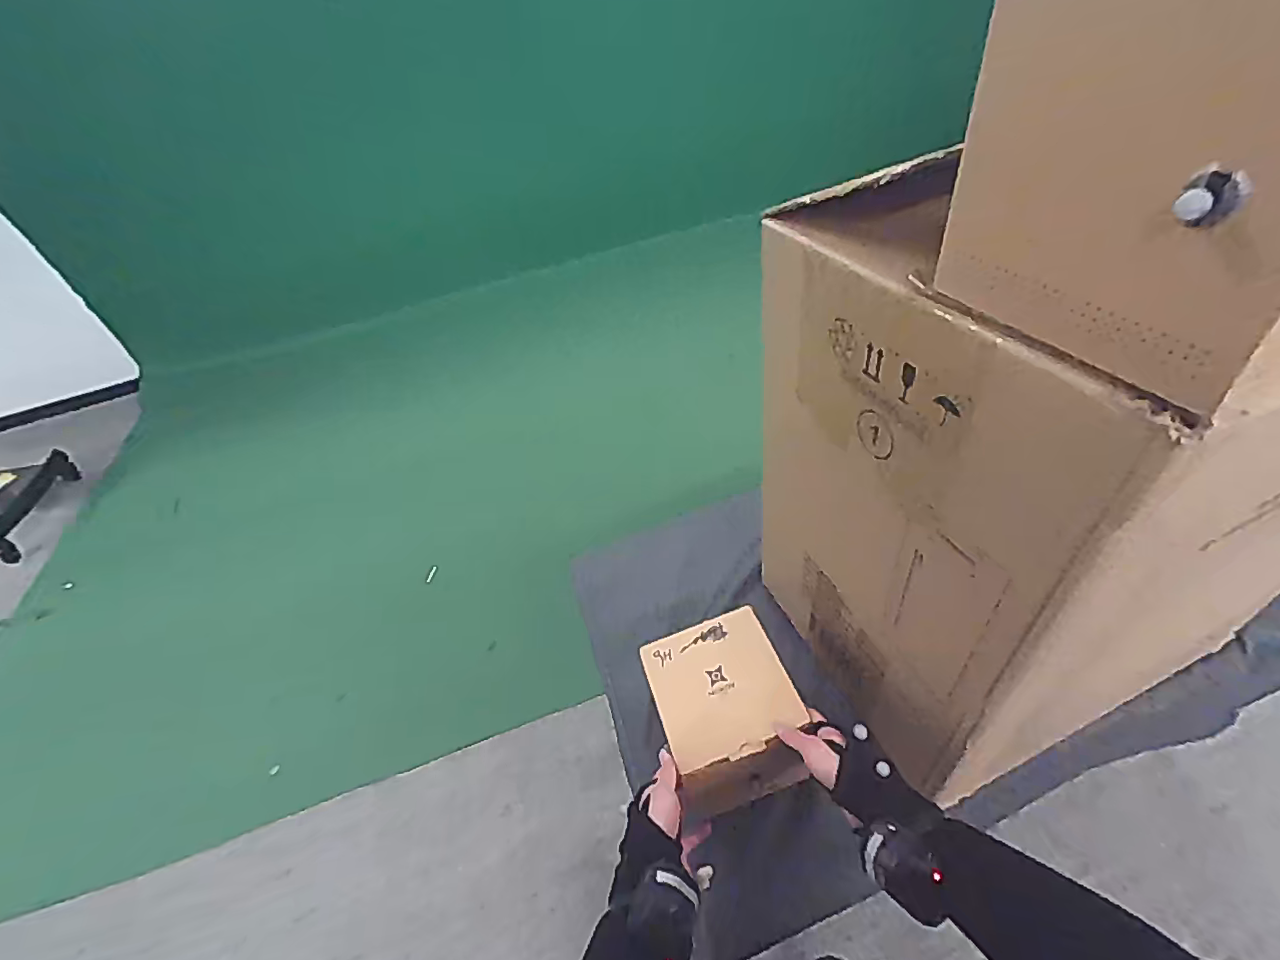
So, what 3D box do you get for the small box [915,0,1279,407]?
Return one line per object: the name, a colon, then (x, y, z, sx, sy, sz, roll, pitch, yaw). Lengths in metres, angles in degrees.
small box: (0.280, -0.158, 0.282, 0.168, 0.176, 0.179, -23, 43, -9)
